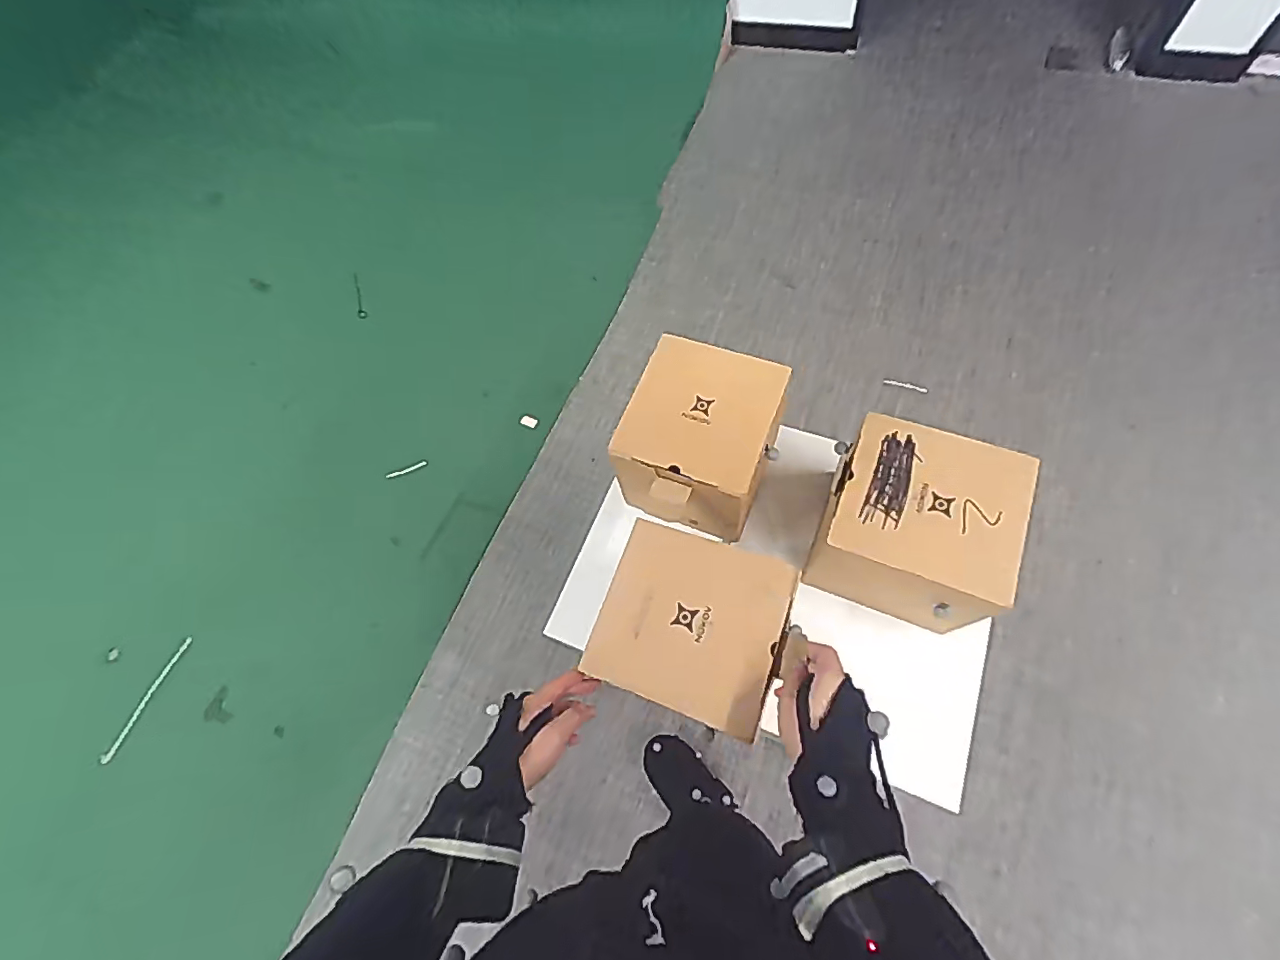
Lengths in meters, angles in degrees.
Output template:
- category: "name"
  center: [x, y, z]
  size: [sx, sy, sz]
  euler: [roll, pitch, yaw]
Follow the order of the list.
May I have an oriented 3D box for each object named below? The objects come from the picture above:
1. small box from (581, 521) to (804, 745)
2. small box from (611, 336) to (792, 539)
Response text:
- category: "small box"
  center: [0.066, 0.168, 0.587]
  size: [0.179, 0.176, 0.168]
  euler: [15, 68, 20]
- category: "small box"
  center: [0.079, -0.048, 0.694]
  size: [0.168, 0.176, 0.179]
  euler: [19, 71, 14]
